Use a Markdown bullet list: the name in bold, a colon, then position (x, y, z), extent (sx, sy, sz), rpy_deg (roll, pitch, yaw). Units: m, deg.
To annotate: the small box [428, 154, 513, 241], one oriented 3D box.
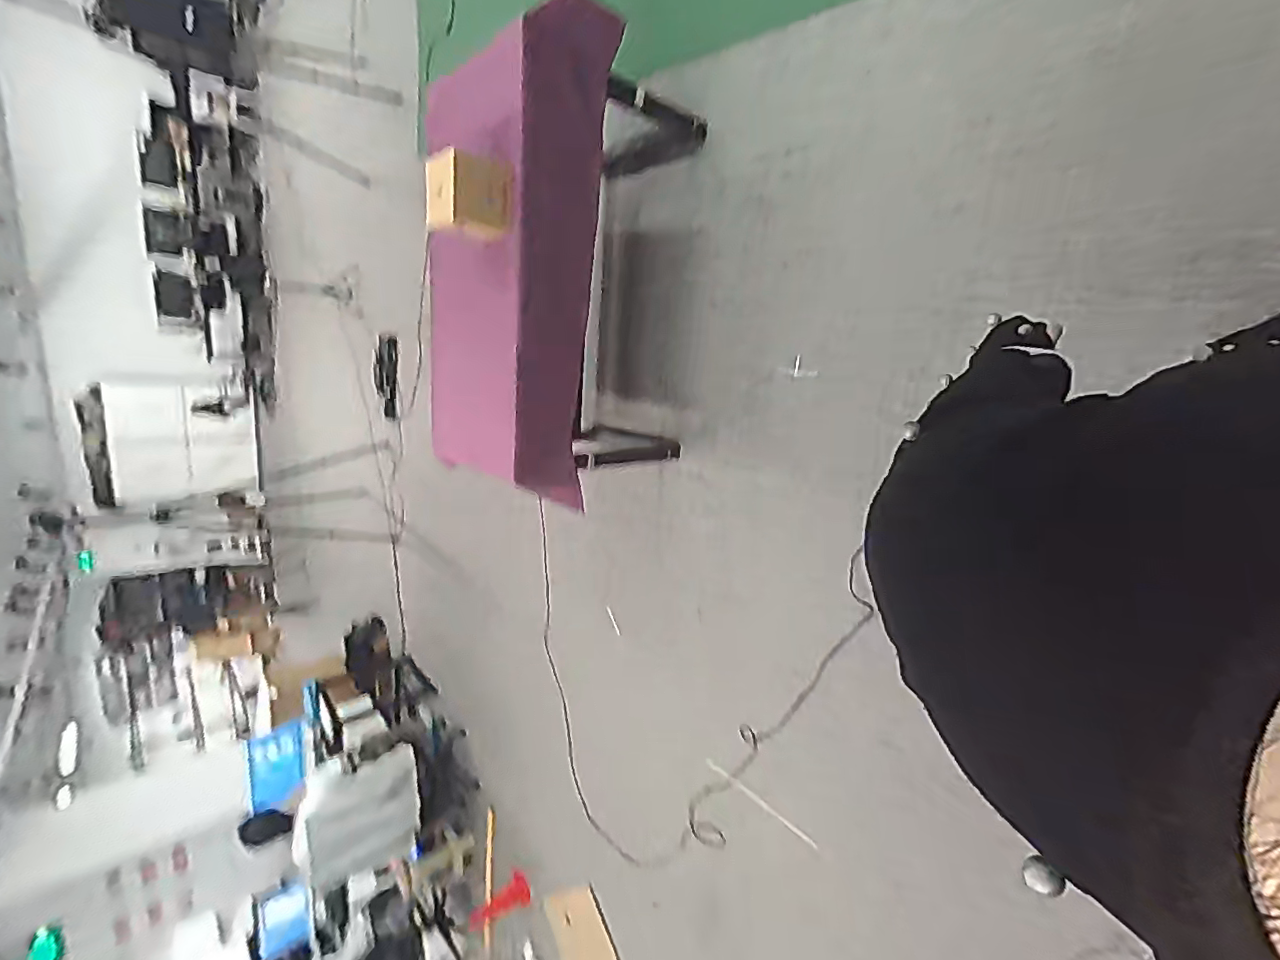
- **small box**: position (-0.459, -0.756, 1.467), extent (0.179, 0.176, 0.168), rpy_deg (18, 108, 45)
